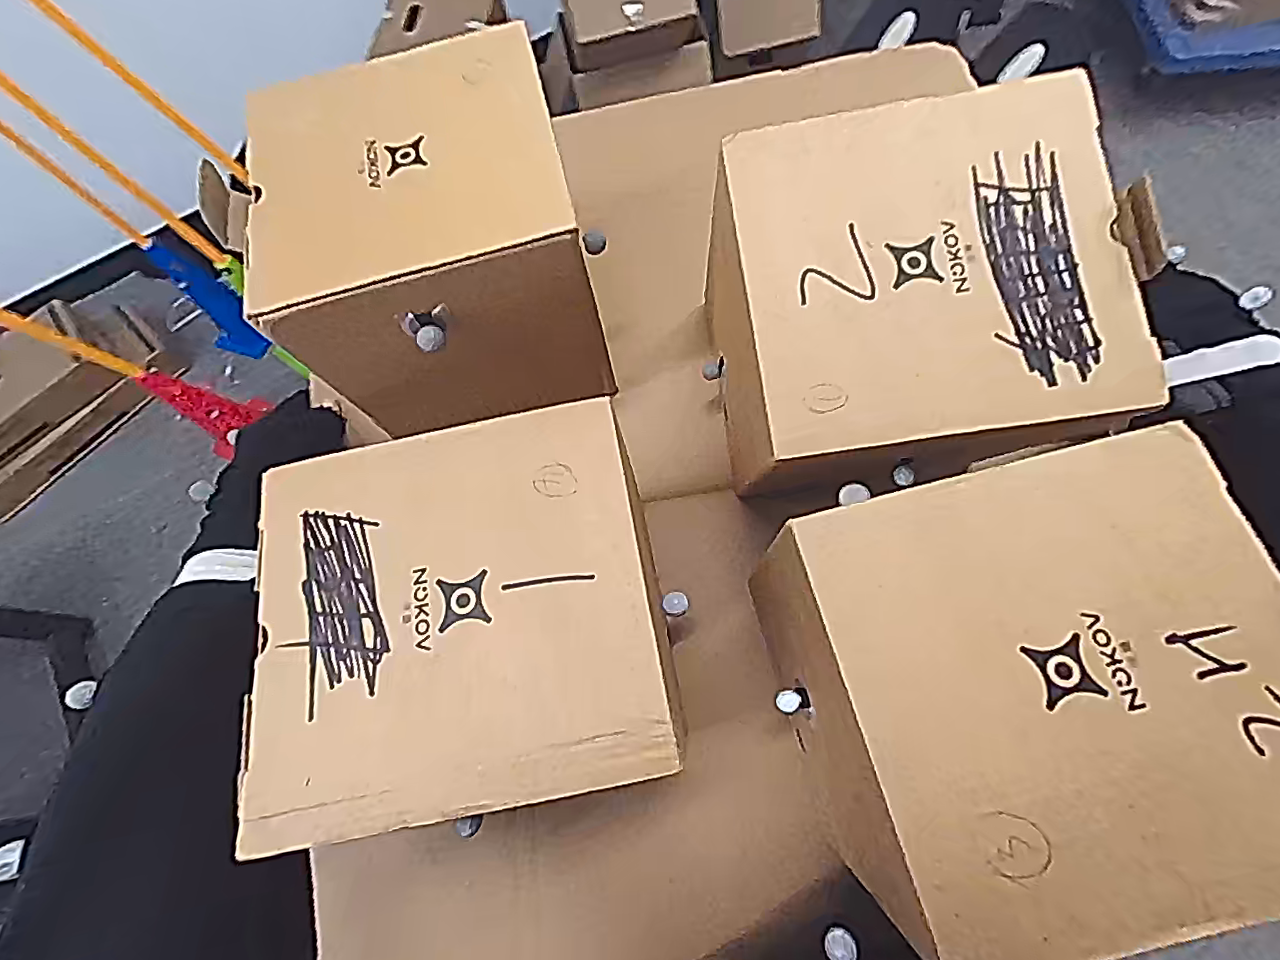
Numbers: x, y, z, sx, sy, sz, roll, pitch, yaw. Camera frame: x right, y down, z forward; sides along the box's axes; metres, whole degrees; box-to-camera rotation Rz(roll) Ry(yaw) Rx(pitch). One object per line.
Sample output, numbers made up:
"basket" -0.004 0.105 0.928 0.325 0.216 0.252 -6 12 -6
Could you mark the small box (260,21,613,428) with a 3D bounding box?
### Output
"small box" -0.122 -0.156 0.378 0.179 0.176 0.168 -15 71 2
